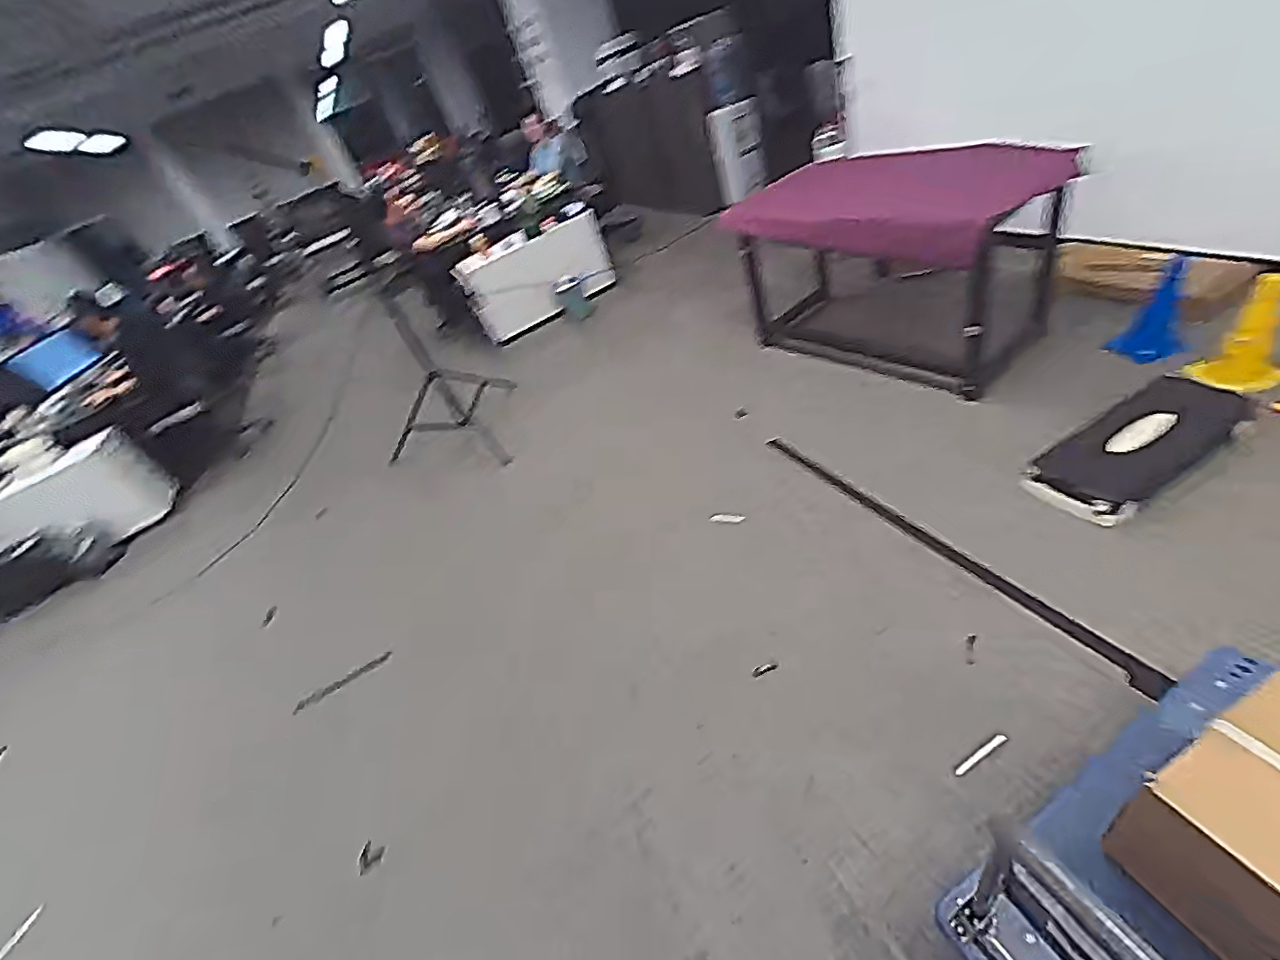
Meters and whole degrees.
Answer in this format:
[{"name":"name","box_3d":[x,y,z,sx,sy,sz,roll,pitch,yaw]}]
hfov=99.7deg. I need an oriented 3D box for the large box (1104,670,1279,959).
[{"name":"large box","box_3d":[0.994,0.569,0.754,0.320,0.320,0.408,-30,38,-10]}]
